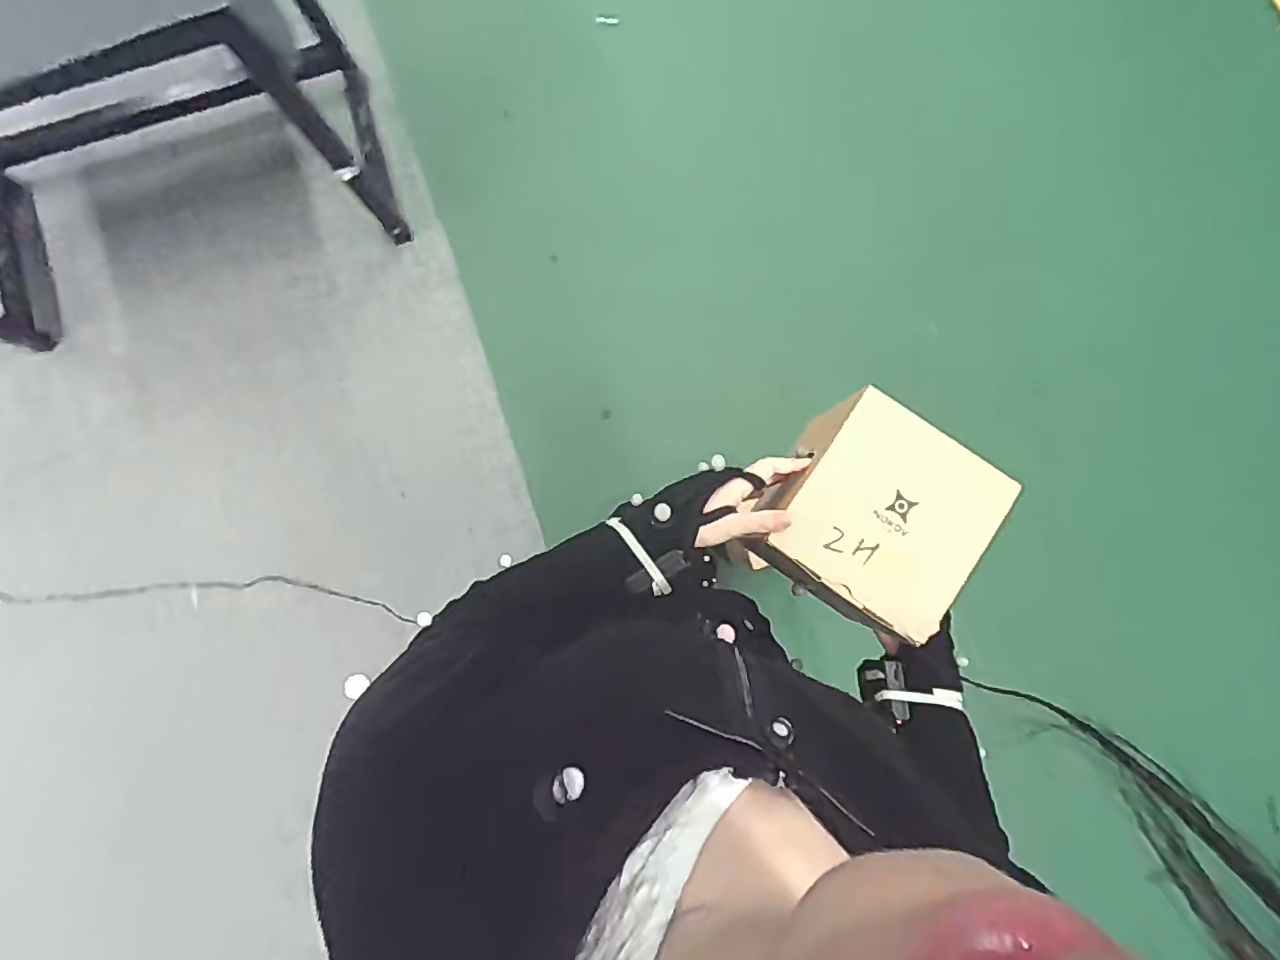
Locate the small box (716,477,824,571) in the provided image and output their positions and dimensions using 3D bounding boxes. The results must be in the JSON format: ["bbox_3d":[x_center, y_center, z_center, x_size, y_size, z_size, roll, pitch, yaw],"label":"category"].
[{"bbox_3d":[0.296,0.102,1.265,0.179,0.176,0.168,-19,85,-2],"label":"small box"}]
